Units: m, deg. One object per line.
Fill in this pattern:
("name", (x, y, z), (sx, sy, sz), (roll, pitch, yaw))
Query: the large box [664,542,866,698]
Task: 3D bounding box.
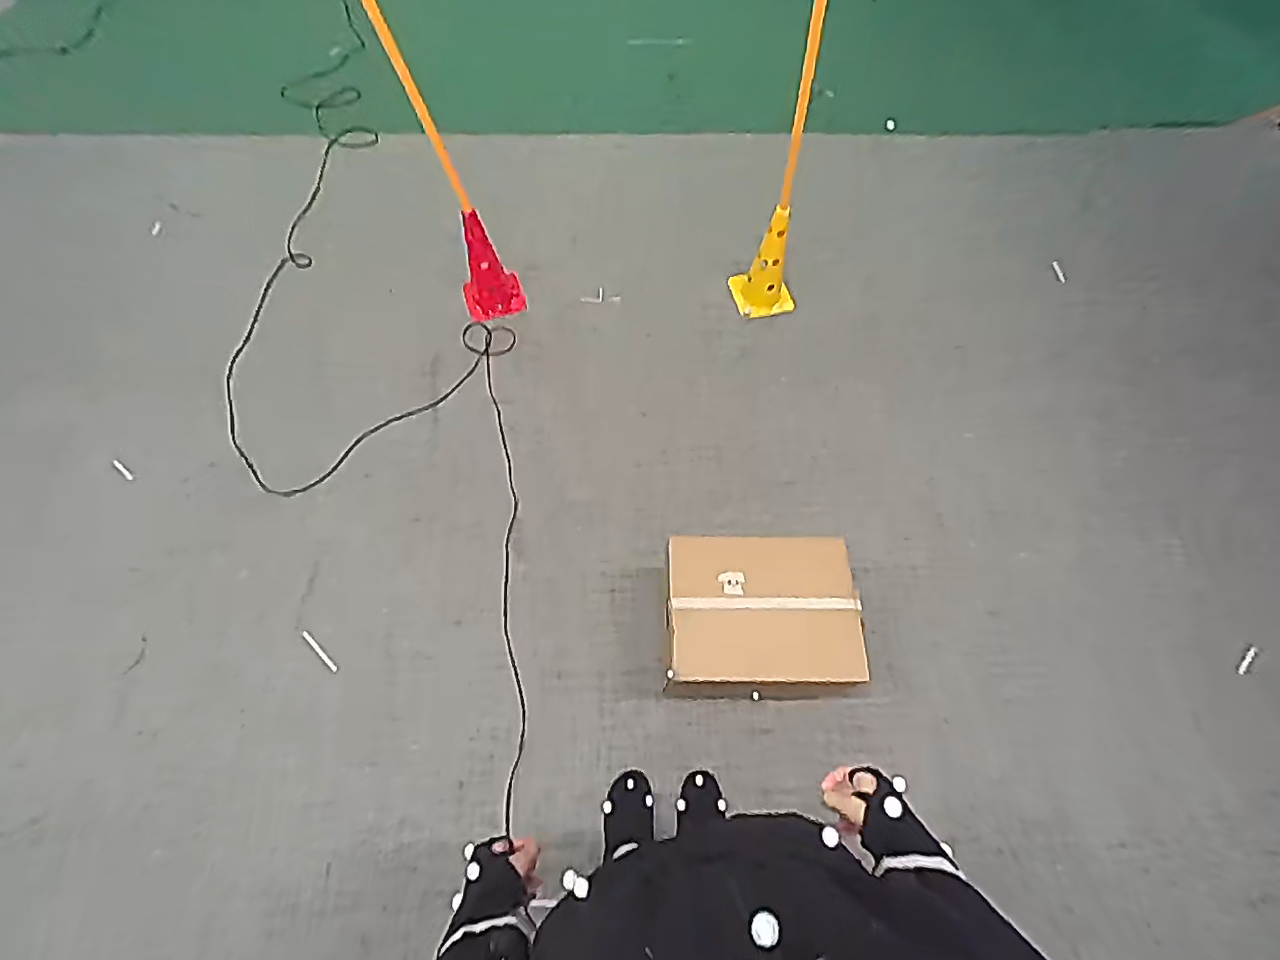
("large box", (0.266, 0.349, 1.299), (0.408, 0.320, 0.320), (0, 62, 0))
